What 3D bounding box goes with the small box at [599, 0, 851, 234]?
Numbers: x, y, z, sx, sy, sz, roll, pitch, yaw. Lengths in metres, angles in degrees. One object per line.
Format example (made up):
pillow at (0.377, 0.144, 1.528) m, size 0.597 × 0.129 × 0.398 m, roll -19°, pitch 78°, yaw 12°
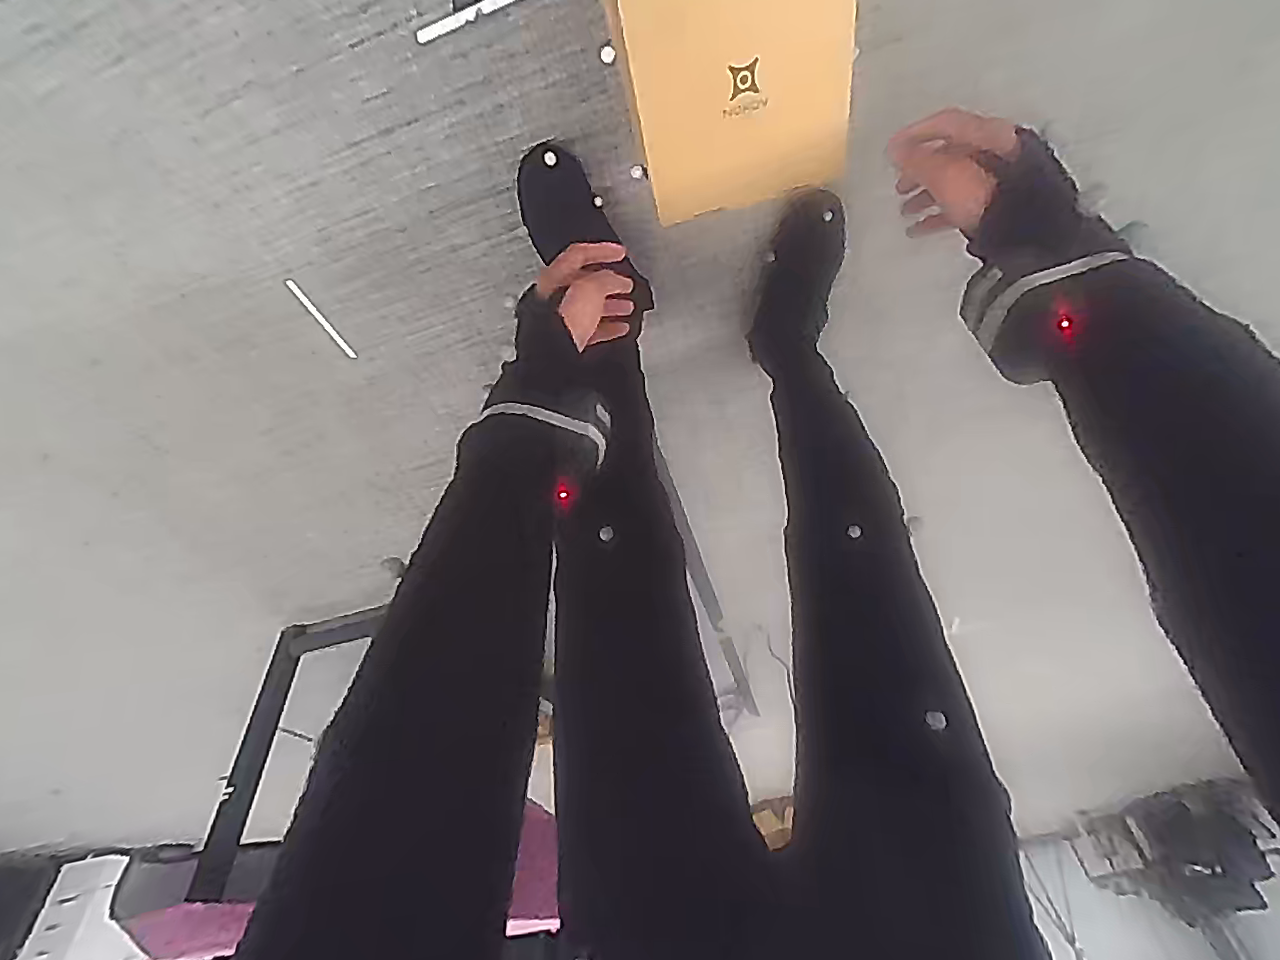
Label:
small box at (0.065, -0.349, 0.460) m, size 0.168 × 0.176 × 0.179 m, roll -14°, pitch 140°, yaw 6°
